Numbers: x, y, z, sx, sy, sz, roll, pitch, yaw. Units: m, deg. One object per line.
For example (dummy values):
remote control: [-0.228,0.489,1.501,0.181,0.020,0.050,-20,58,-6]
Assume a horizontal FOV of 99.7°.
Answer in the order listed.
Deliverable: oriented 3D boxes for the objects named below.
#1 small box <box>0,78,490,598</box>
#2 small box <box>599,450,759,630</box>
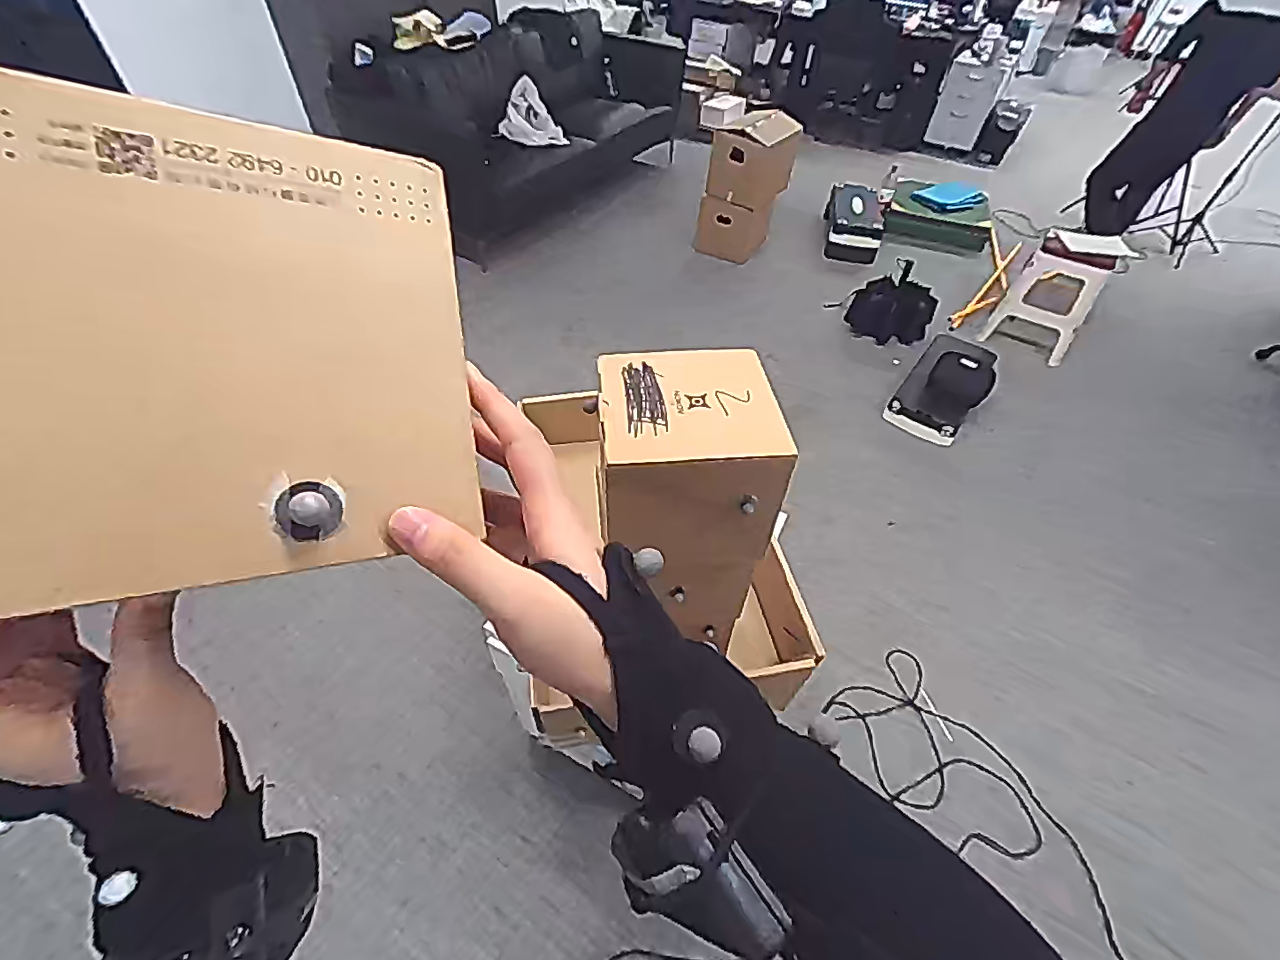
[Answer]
small box: [-0.189,-0.046,0.277,0.168,0.179,0.176,-6,89,-33]
small box: [0.041,0.082,0.727,0.179,0.176,0.168,-6,47,-6]
